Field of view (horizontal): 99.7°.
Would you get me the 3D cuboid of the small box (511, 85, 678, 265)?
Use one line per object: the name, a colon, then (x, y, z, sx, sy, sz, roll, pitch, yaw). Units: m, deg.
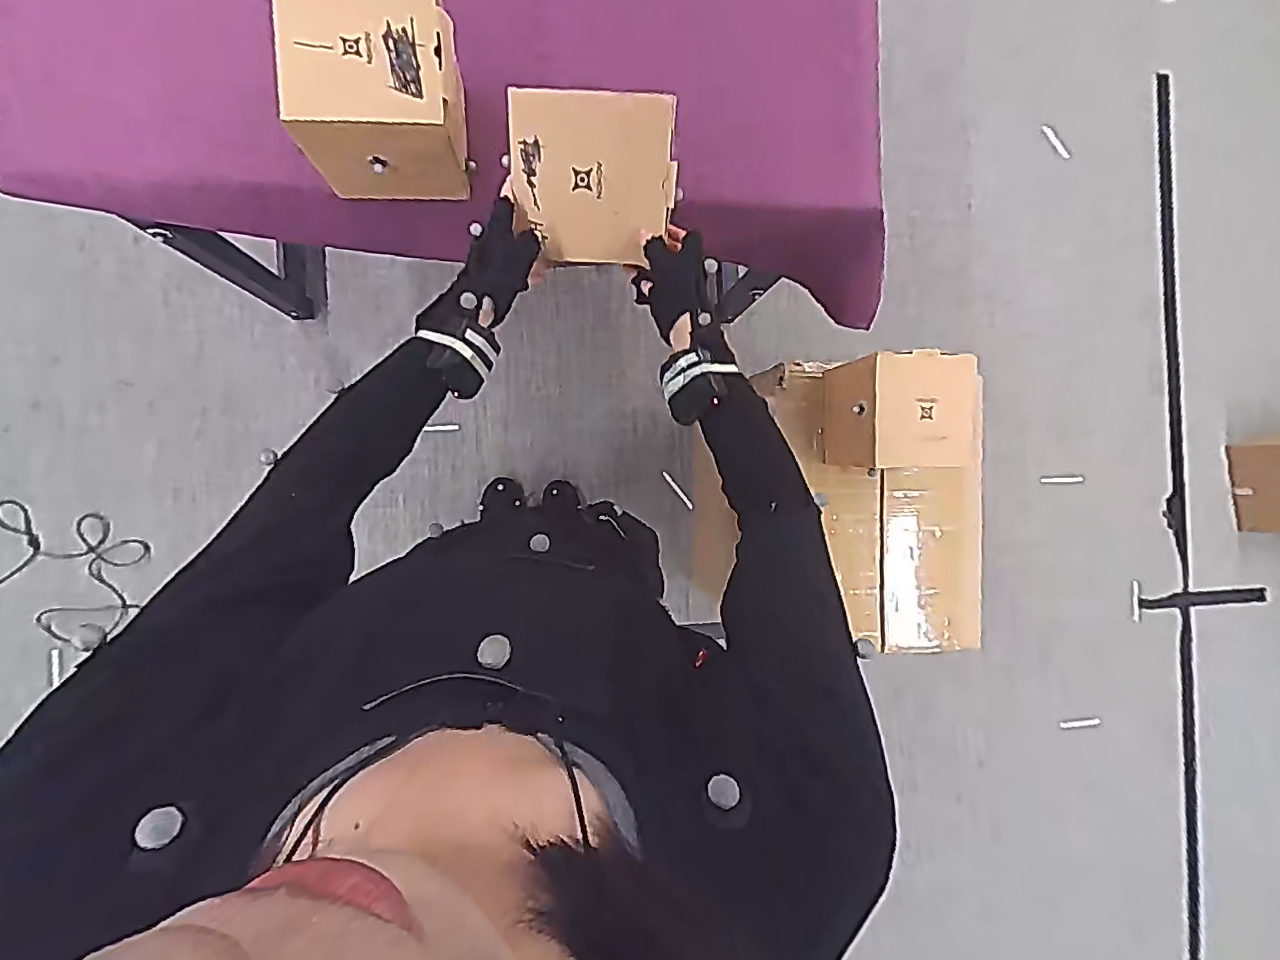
small box: (-0.051, -0.357, 0.661, 0.179, 0.176, 0.168, 3, 112, 0)

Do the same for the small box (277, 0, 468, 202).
small box: (-0.317, -0.472, 0.678, 0.179, 0.176, 0.168, -4, 90, -8)

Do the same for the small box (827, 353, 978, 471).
small box: (0.422, -0.104, 0.892, 0.168, 0.176, 0.179, -1, 92, -6)
